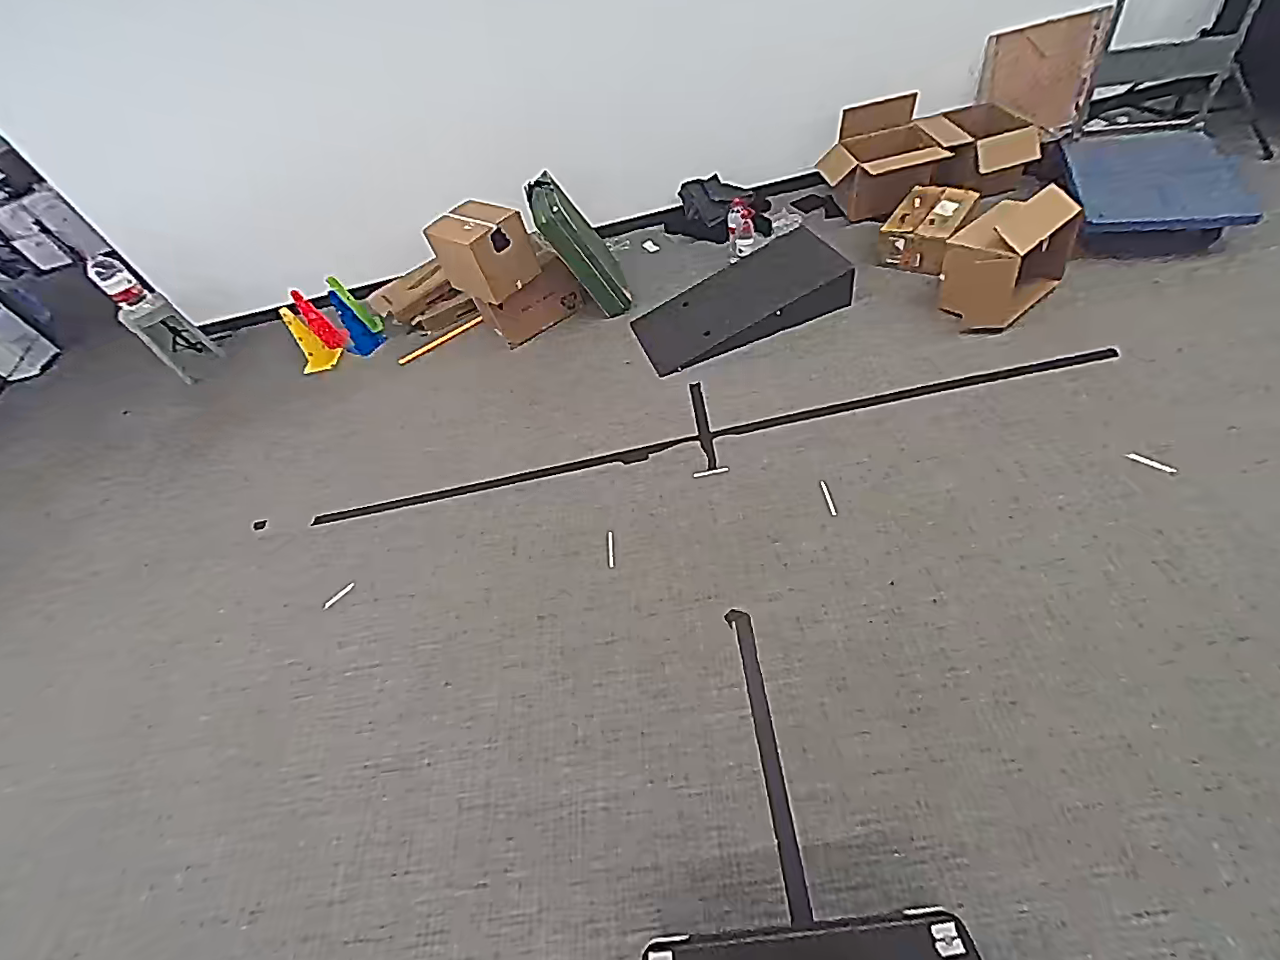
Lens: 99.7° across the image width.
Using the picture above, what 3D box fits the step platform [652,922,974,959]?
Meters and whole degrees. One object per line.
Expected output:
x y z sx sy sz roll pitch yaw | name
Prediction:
0.338 1.086 1.056 0.684 0.204 0.286 -12 50 5 | step platform
